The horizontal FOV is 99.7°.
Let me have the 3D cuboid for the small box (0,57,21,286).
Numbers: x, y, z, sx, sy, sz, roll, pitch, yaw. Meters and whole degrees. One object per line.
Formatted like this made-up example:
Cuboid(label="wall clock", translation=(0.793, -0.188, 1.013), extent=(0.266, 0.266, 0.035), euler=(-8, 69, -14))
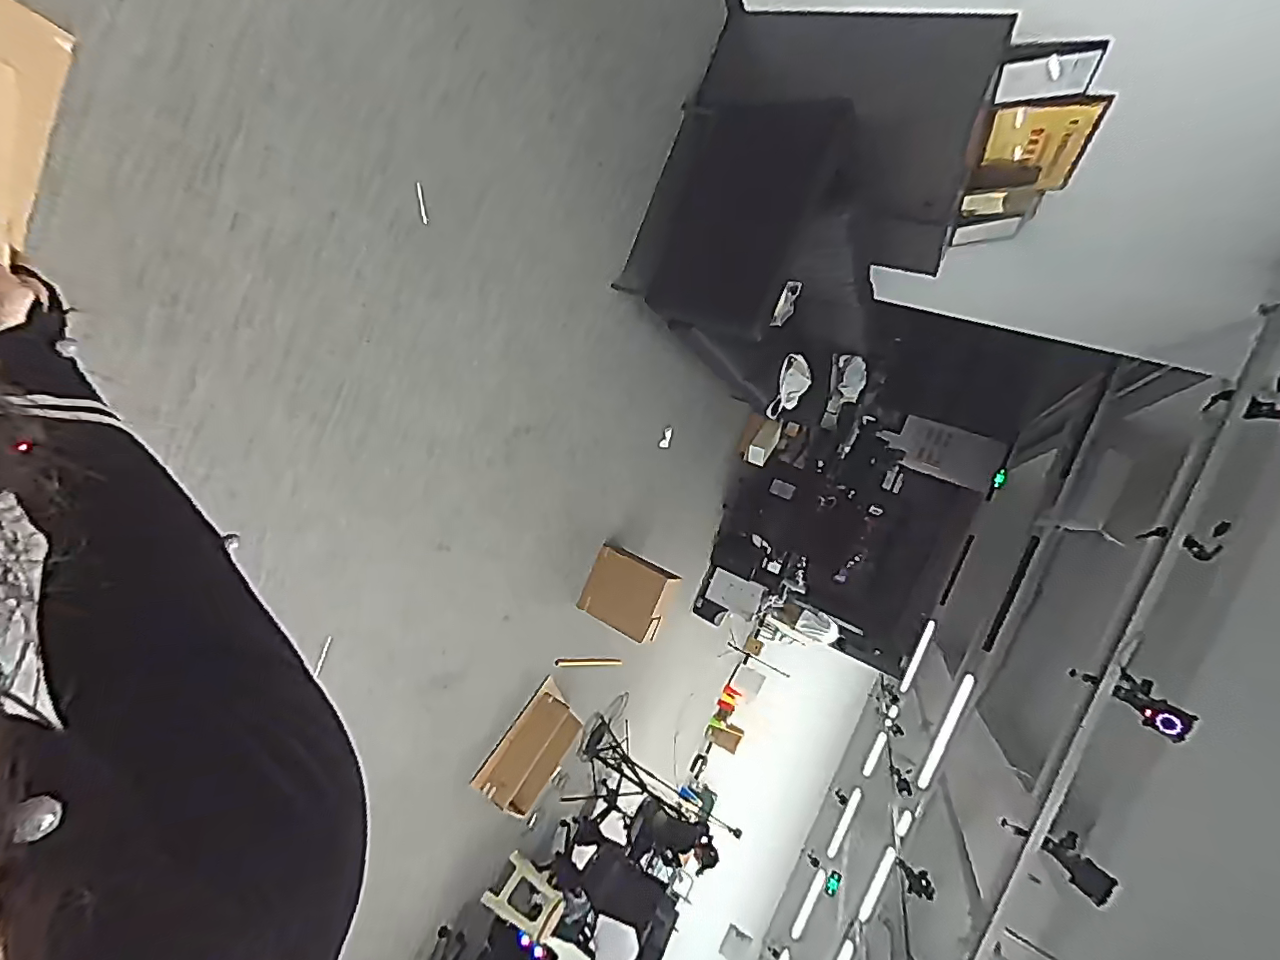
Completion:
Cuboid(label="small box", translation=(-0.608, -0.268, 0.398), extent=(0.168, 0.176, 0.179), euler=(-7, 118, -61))
